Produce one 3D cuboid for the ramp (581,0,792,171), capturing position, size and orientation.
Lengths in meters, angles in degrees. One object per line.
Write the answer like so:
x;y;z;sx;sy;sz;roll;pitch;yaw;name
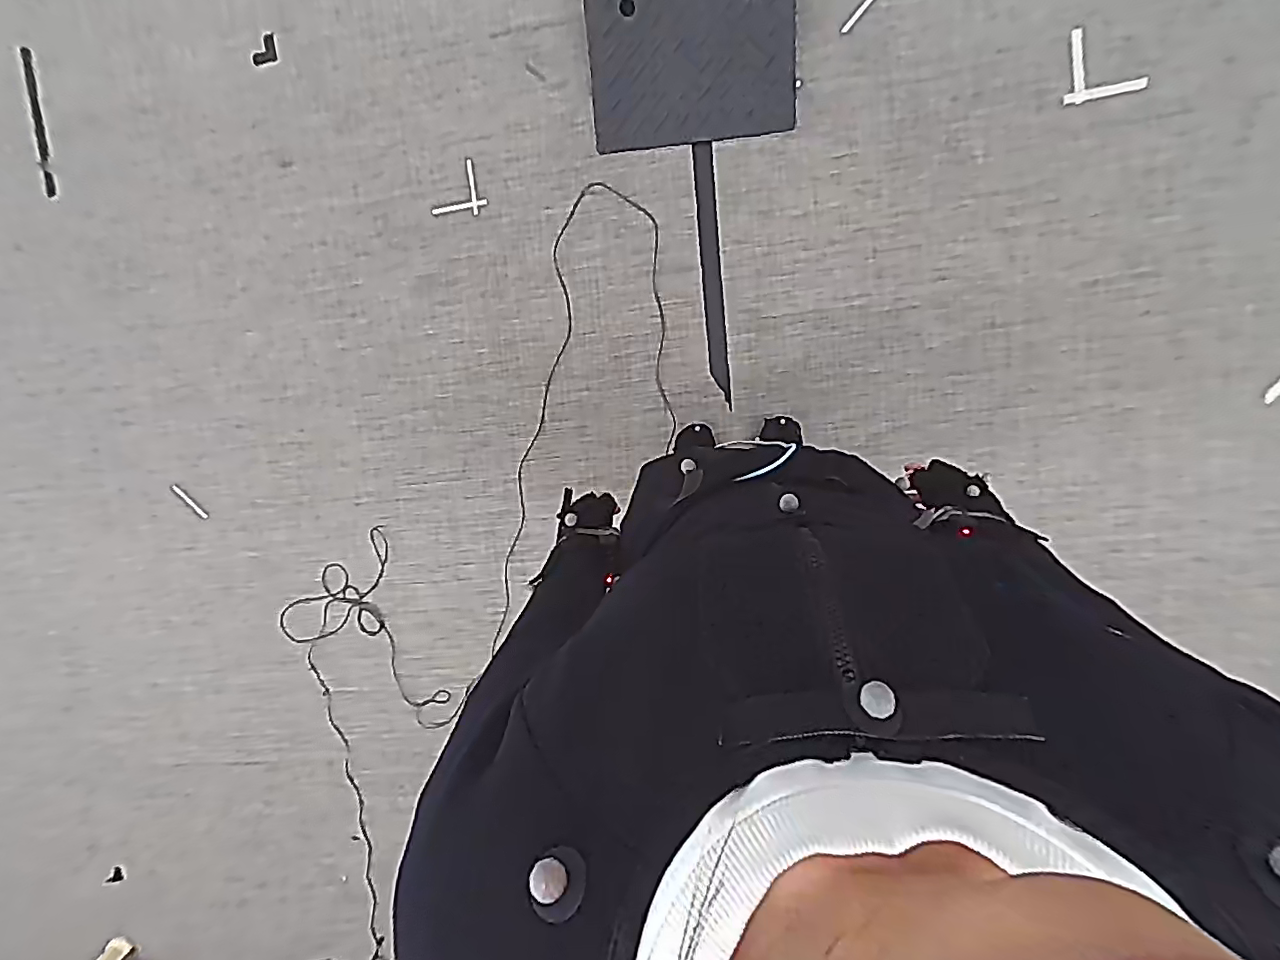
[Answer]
0.087;-1.296;1.242;0.509;0.206;0.991;-6;95;7;ramp
